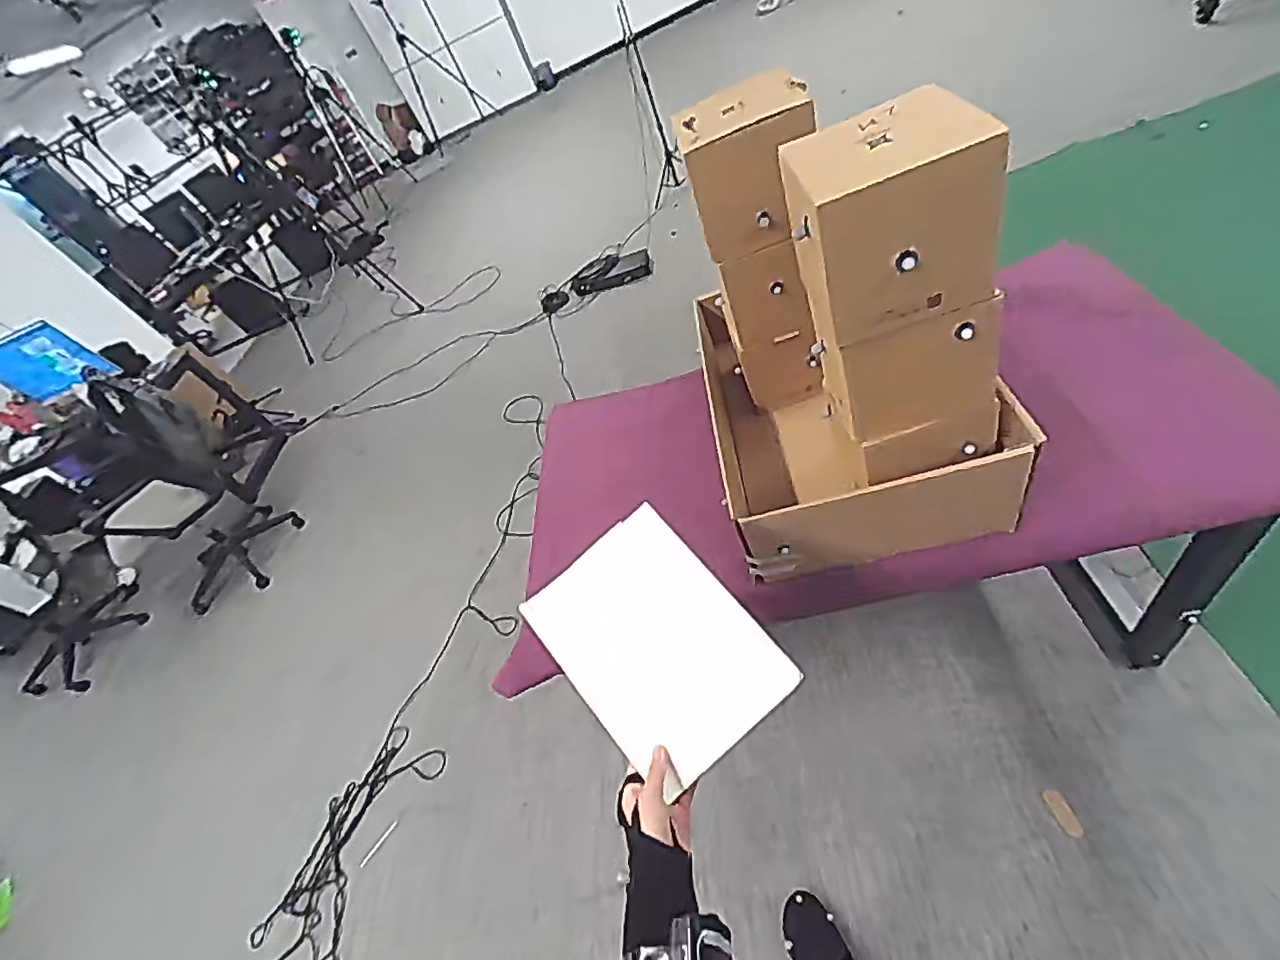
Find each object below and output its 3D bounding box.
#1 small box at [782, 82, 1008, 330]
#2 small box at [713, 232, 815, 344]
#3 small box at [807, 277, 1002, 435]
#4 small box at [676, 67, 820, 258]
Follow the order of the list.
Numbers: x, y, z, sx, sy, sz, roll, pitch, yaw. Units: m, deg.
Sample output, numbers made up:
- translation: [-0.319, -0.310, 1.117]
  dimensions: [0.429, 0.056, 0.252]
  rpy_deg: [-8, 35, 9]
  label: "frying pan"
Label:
- translation: [0.267, -0.285, 0.588]
  dimensions: [0.168, 0.176, 0.179]
  rpy_deg: [-16, 44, 14]
  label: "small box"
- translation: [0.224, -0.364, 0.920]
  dimensions: [0.179, 0.176, 0.168]
  rpy_deg: [-18, 47, 12]
  label: "small box"
- translation: [0.332, -0.183, 0.699]
  dimensions: [0.179, 0.176, 0.168]
  rpy_deg: [-15, 45, 14]
  label: "small box"
- translation: [0.165, -0.466, 0.806]
  dimensions: [0.179, 0.176, 0.168]
  rpy_deg: [-15, 47, 13]
  label: "small box"
